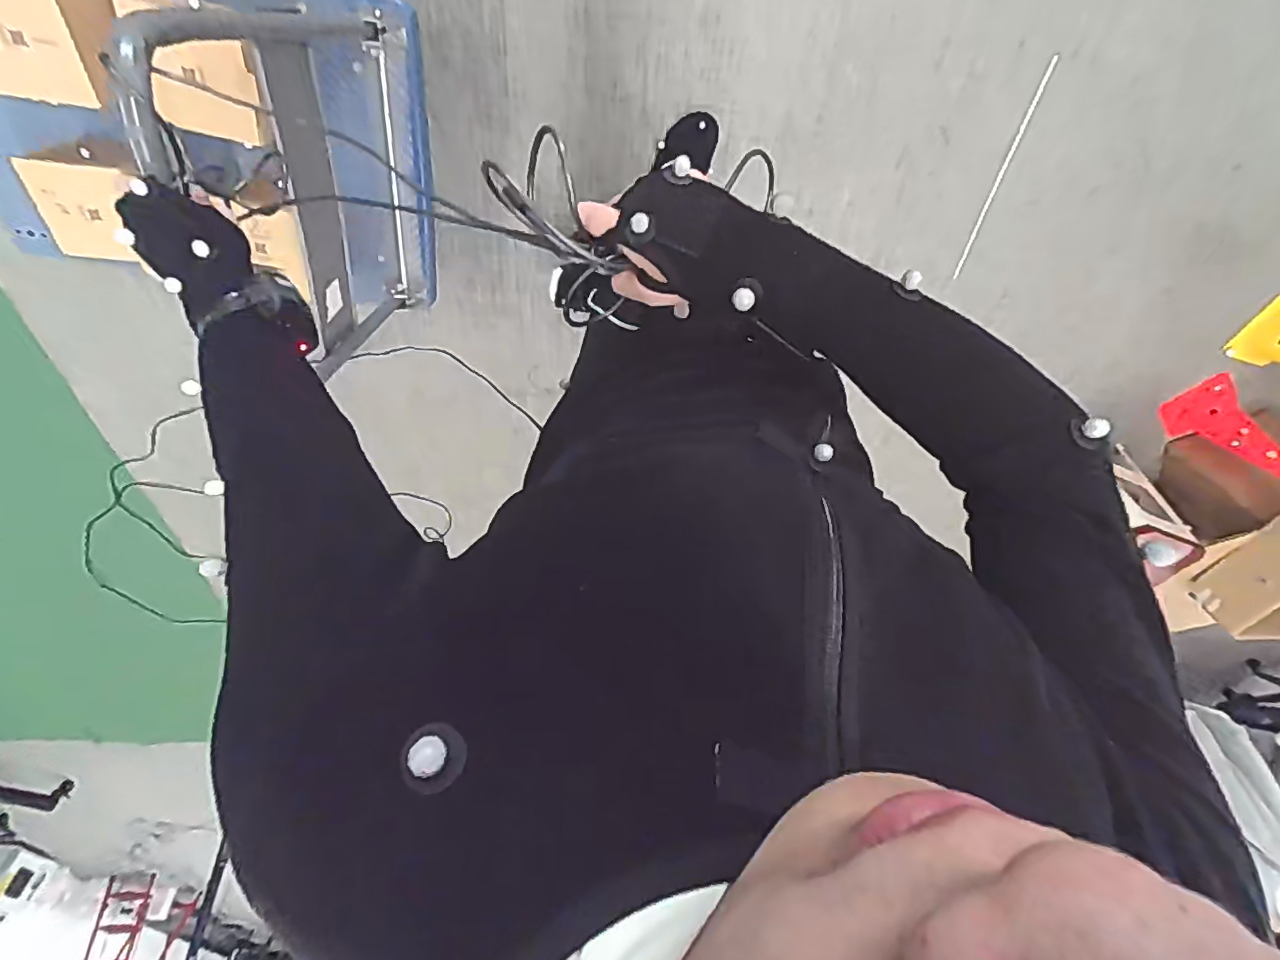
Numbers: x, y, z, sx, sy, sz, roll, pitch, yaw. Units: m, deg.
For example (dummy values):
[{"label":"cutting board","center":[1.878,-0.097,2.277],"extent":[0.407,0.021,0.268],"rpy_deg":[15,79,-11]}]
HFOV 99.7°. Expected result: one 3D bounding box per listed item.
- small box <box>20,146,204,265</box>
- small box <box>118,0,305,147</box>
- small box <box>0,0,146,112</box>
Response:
[{"label":"small box","center":[-1.003,-0.538,1.056],"extent":[0.179,0.176,0.168],"rpy_deg":[4,130,-6]},{"label":"small box","center":[-0.718,-0.700,0.932],"extent":[0.179,0.176,0.168],"rpy_deg":[7,130,-10]},{"label":"small box","center":[-0.959,-0.728,0.890],"extent":[0.179,0.176,0.168],"rpy_deg":[4,132,-8]}]
